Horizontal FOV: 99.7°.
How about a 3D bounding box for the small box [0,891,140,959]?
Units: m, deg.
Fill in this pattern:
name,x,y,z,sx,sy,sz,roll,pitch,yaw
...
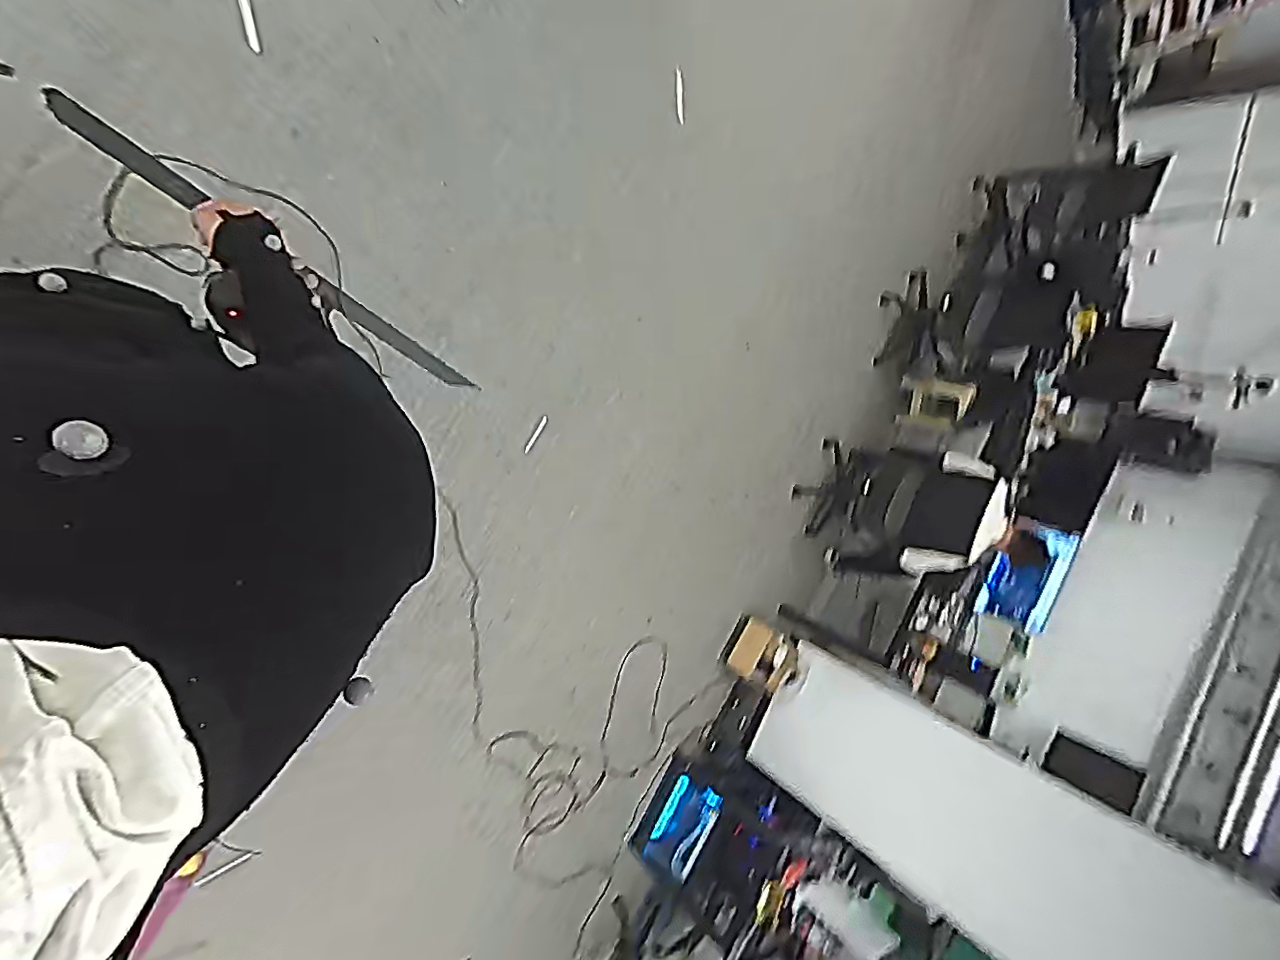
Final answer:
name,x,y,z,sx,sy,sz,roll,pitch,yaw
small box,-0.777,0.662,0.677,0.179,0.176,0.168,33,83,-43
